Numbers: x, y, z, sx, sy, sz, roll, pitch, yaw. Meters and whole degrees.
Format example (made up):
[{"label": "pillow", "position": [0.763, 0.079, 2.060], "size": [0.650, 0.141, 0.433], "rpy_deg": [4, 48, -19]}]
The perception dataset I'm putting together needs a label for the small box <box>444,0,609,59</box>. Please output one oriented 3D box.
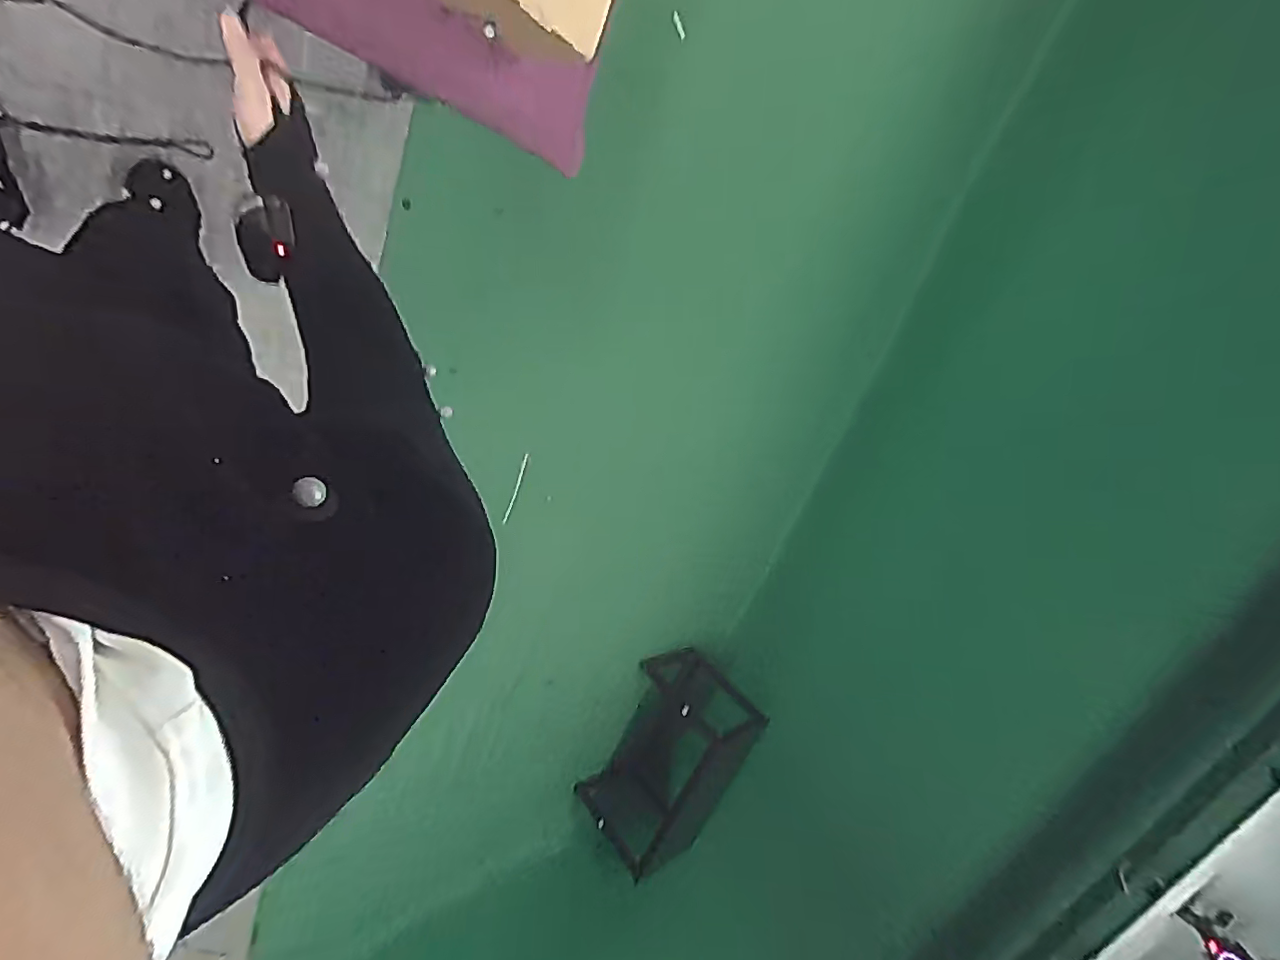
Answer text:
[{"label": "small box", "position": [-0.134, -0.632, 0.626], "size": [0.168, 0.176, 0.179], "rpy_deg": [5, 115, -46]}]
